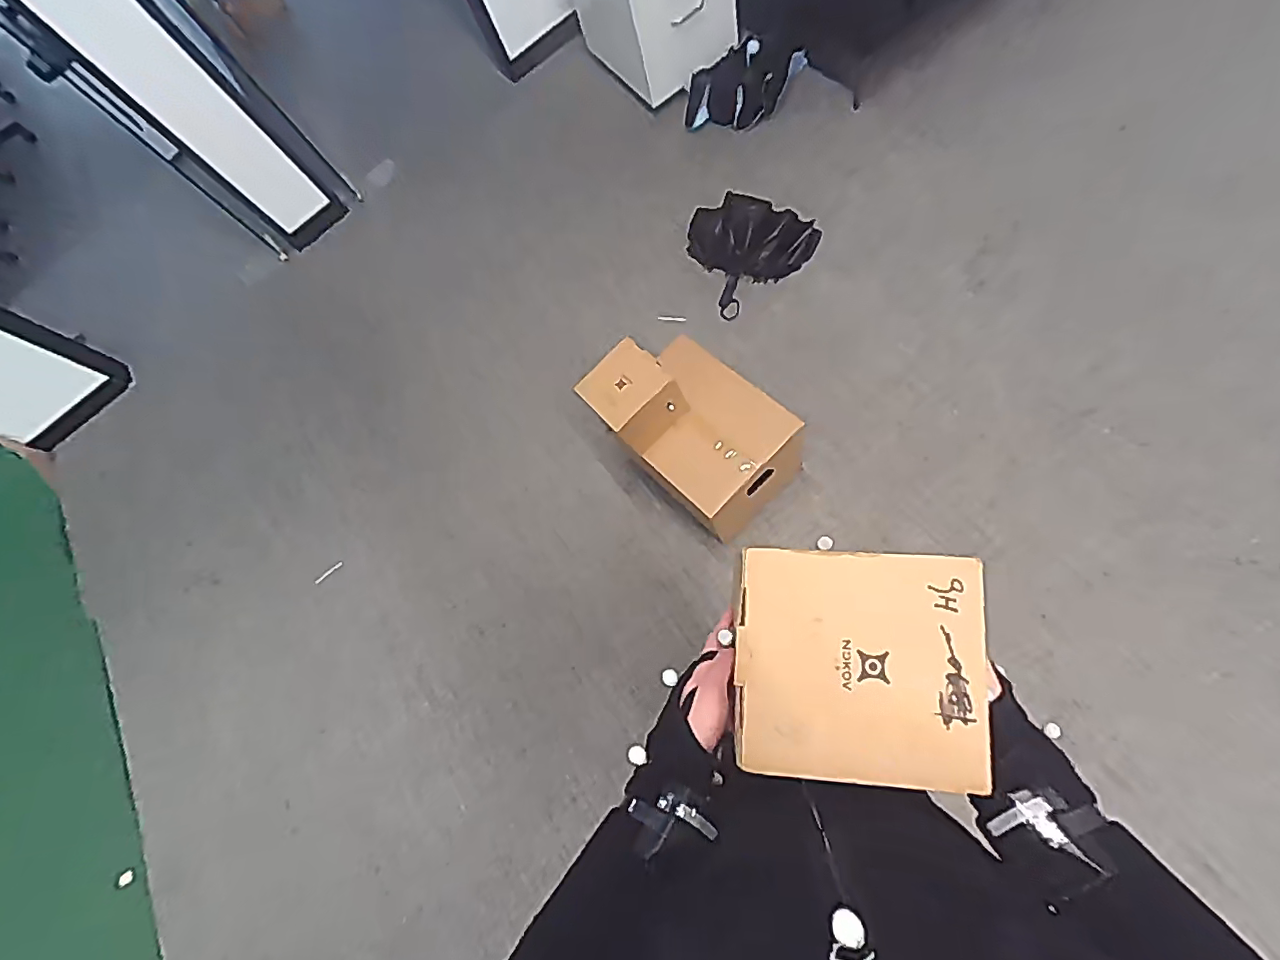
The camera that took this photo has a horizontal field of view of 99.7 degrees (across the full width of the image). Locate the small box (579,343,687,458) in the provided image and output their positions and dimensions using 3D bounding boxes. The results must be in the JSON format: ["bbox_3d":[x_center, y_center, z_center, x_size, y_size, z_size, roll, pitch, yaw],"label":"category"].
[{"bbox_3d":[-0.007,-0.181,1.278,0.179,0.176,0.168,-45,65,2],"label":"small box"}]
